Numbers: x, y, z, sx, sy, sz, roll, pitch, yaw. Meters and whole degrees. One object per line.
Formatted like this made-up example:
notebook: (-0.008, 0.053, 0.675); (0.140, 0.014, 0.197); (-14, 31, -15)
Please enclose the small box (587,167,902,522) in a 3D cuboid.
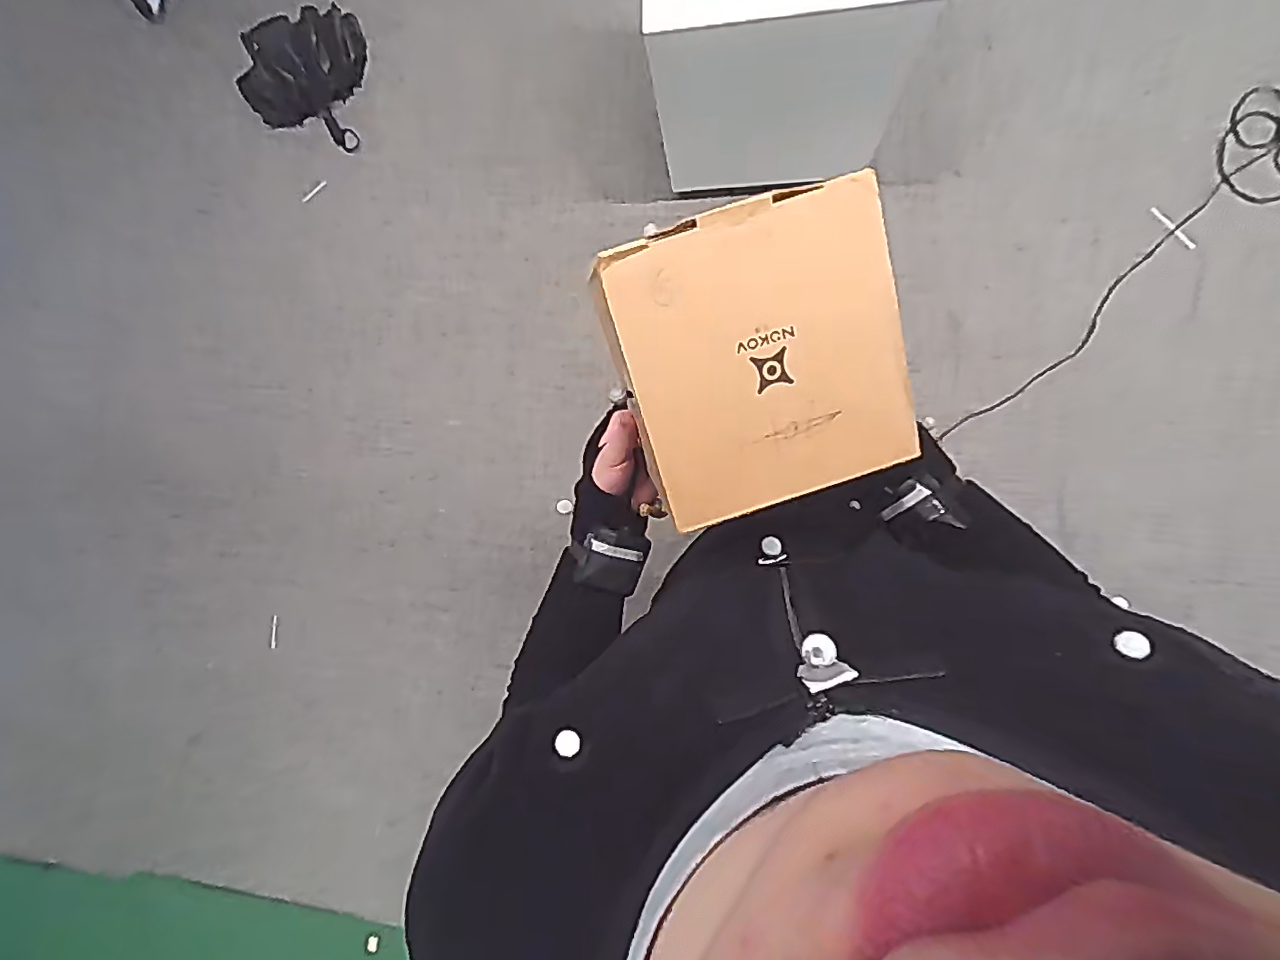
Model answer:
small box: (0.061, -0.096, 0.401); (0.168, 0.176, 0.179); (-17, 108, -1)
